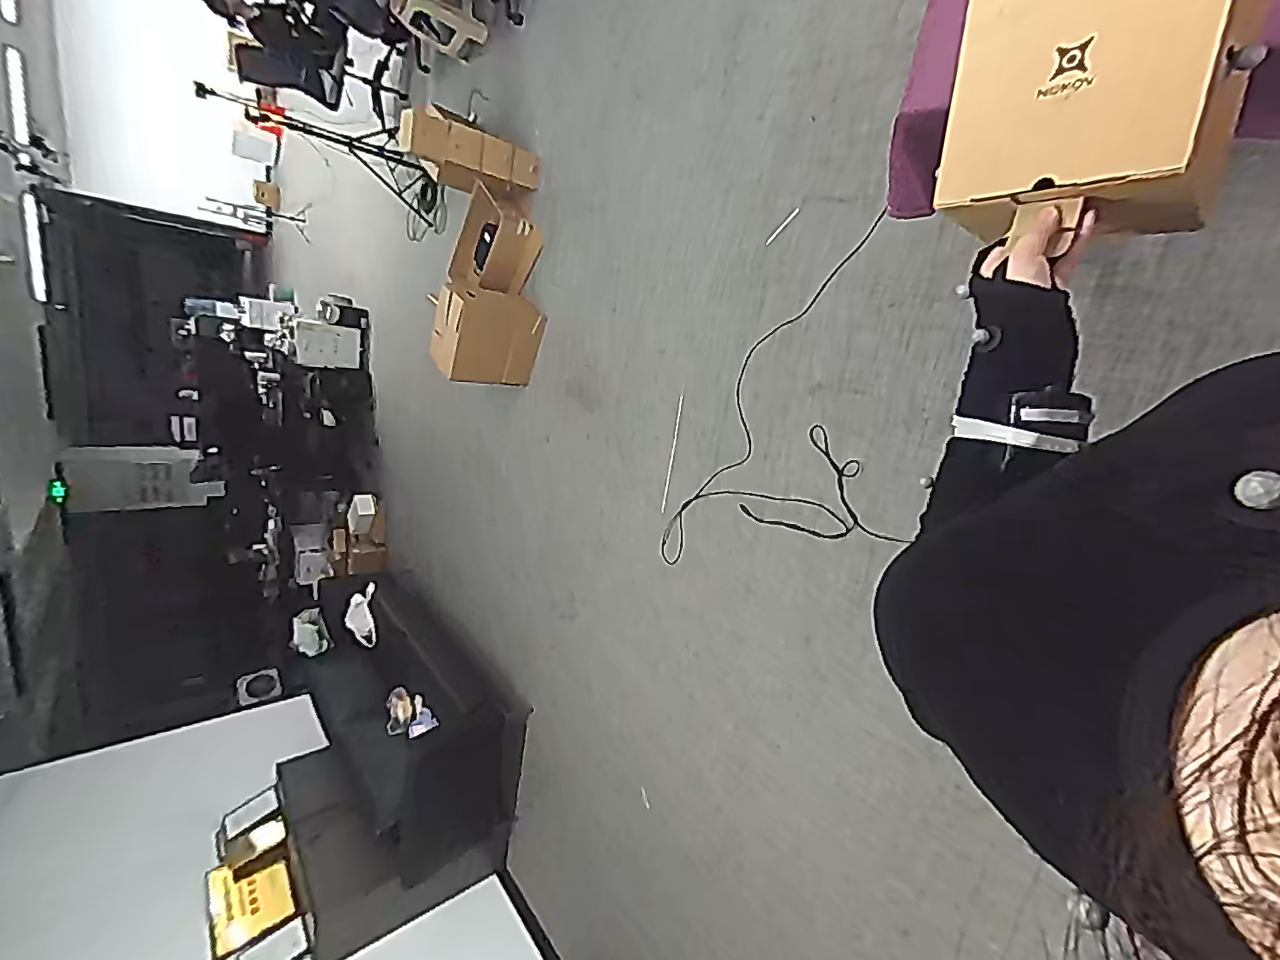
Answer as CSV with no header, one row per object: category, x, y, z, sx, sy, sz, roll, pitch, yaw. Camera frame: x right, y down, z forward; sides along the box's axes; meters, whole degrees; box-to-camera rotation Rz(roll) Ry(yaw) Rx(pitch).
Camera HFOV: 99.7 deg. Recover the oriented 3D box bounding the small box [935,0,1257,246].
small box,0.383,-0.314,0.460,0.168,0.176,0.179,18,108,46
